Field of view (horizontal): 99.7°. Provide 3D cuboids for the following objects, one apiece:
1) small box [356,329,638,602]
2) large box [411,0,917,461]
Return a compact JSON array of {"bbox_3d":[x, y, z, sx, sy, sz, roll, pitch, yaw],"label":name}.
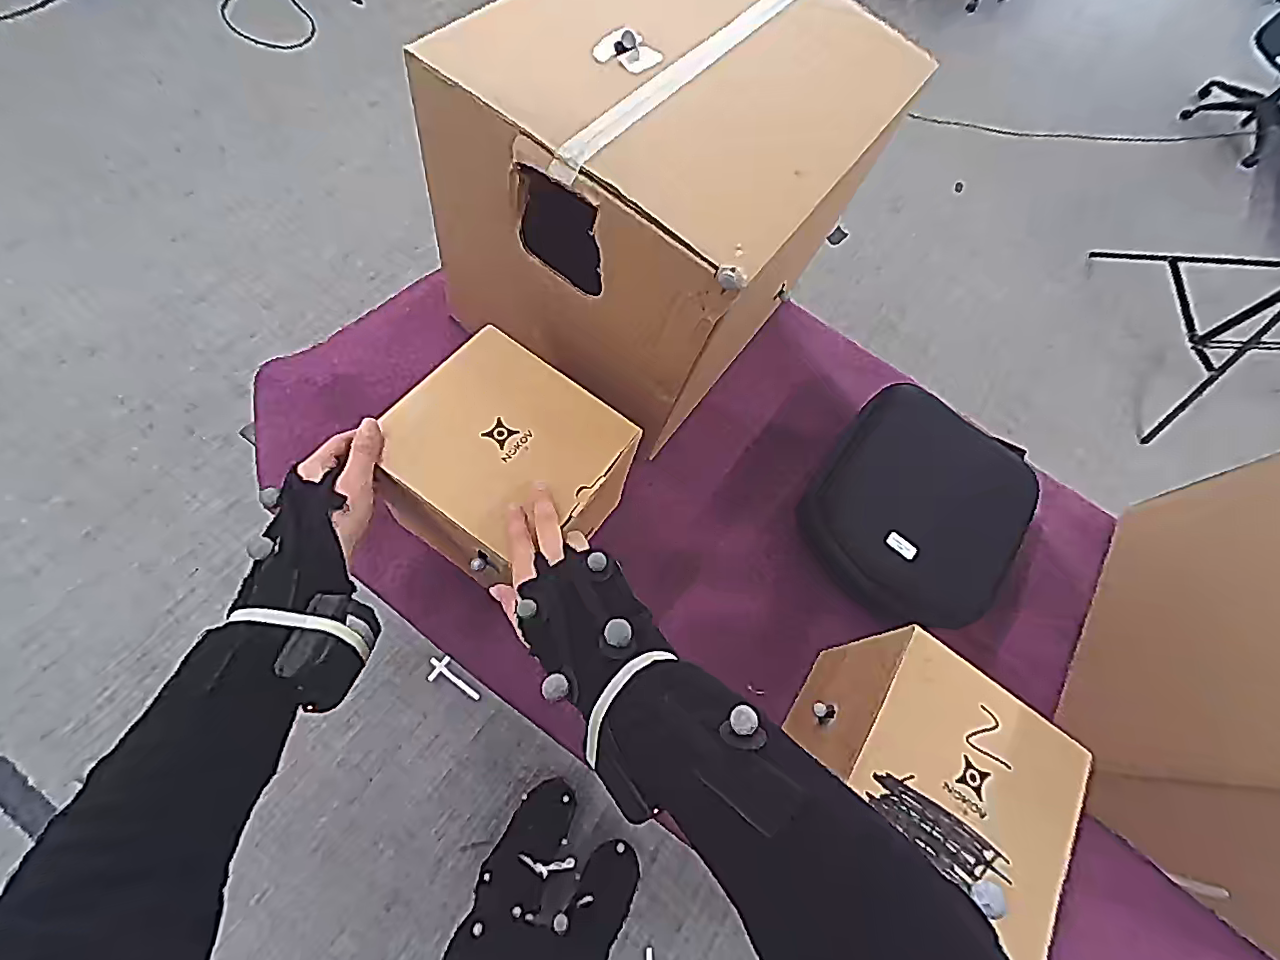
[{"bbox_3d":[-0.130,-0.003,0.527,0.179,0.176,0.168,34,63,5],"label":"small box"},{"bbox_3d":[0.026,-0.303,0.615,0.320,0.320,0.408,36,66,4],"label":"large box"}]
